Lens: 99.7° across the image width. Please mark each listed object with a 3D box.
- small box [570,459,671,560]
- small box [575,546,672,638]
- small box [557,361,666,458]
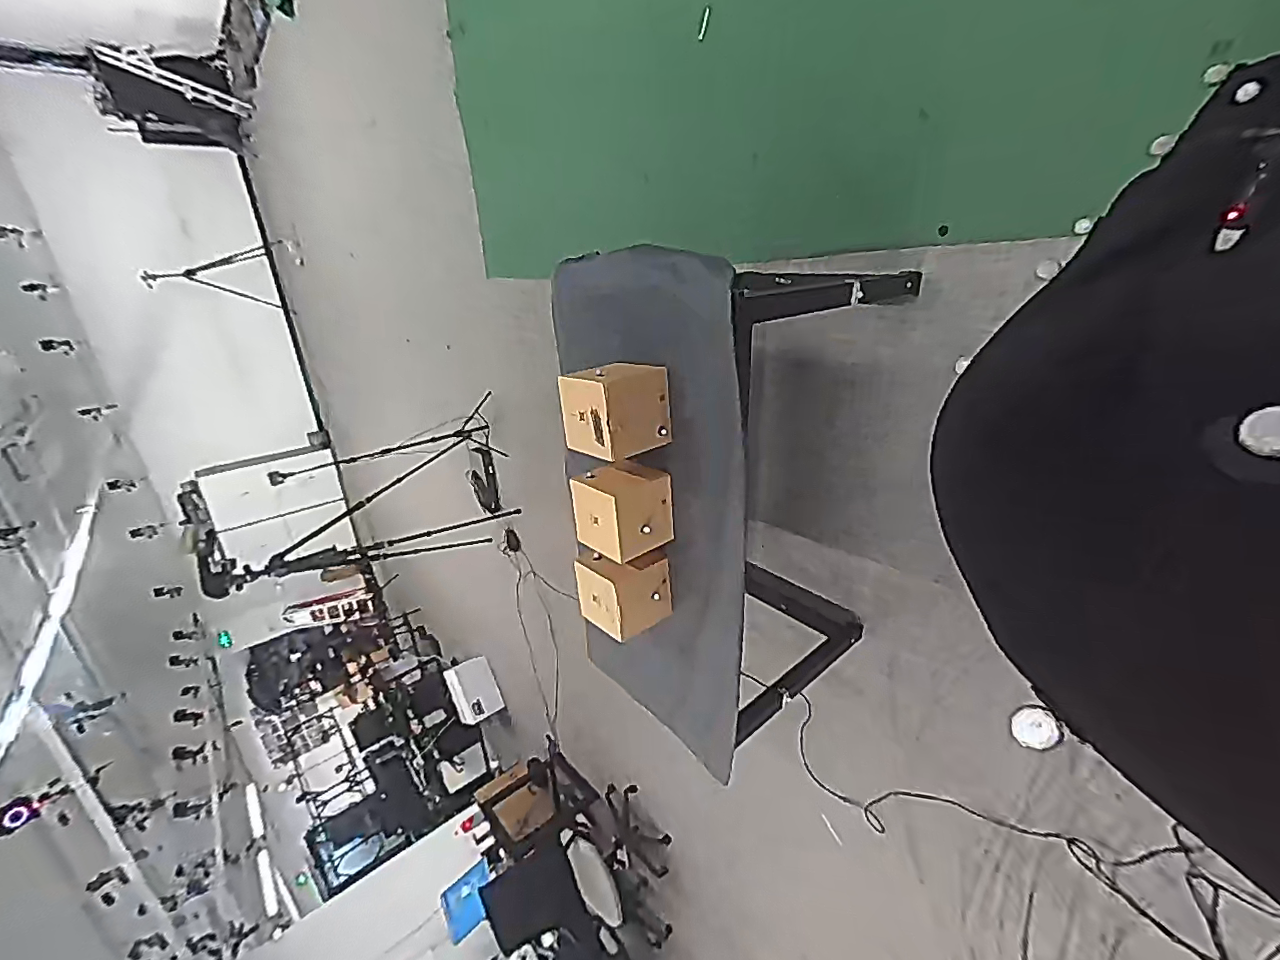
[{"bbox_3d":[-0.039,0.059,1.268,0.179,0.176,0.168,19,122,48],"label":"small box"},{"bbox_3d":[-0.040,0.261,1.367,0.179,0.176,0.168,18,121,48],"label":"small box"},{"bbox_3d":[-0.055,-0.161,1.173,0.179,0.176,0.168,19,122,48],"label":"small box"}]
